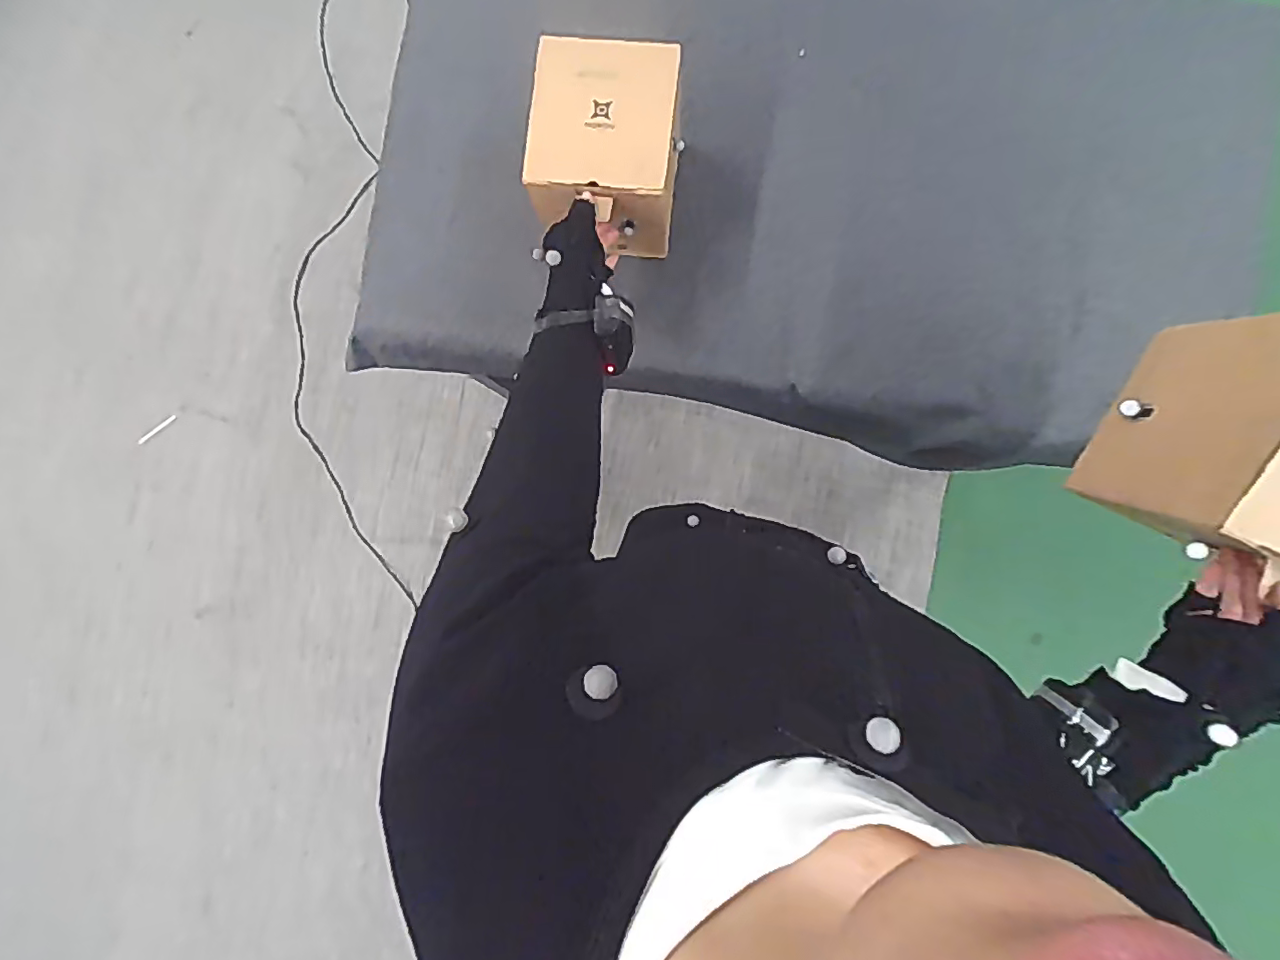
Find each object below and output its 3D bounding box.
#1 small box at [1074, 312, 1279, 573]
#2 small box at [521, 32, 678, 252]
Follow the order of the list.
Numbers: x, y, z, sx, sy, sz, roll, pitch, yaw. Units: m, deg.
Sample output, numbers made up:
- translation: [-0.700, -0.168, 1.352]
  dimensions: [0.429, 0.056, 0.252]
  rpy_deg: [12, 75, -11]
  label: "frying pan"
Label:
- translation: [0.528, -0.025, 0.458]
  dimensions: [0.168, 0.176, 0.179]
  rpy_deg: [24, 101, -2]
  label: "small box"
- translation: [-0.042, -0.414, 0.690]
  dimensions: [0.168, 0.176, 0.179]
  rpy_deg: [6, 87, 2]
  label: "small box"
